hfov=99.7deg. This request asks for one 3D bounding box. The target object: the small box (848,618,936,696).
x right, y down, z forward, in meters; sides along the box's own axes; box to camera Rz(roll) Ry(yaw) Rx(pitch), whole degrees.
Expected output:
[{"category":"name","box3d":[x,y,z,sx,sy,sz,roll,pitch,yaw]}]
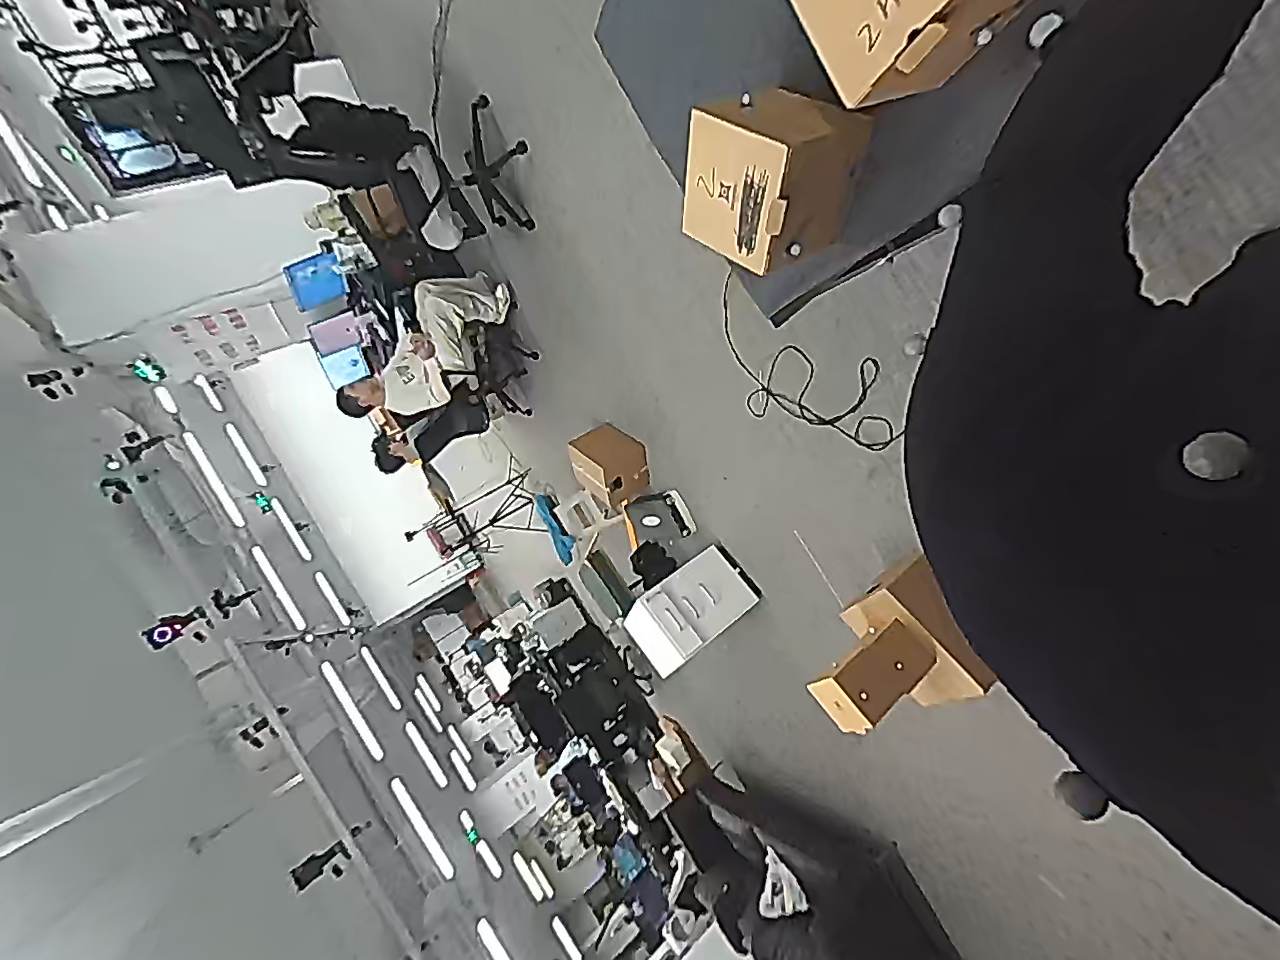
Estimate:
[{"category":"small box","box3d":[0.812,0.581,1.755,0.179,0.176,0.168,51,153,17]}]

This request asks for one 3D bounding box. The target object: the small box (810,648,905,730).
[{"category":"small box","box3d":[0.678,0.647,1.688,0.179,0.176,0.168,51,153,16]}]

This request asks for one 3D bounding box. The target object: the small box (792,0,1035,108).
[{"category":"small box","box3d":[0.273,-0.508,0.521,0.179,0.176,0.168,61,156,-2]}]
